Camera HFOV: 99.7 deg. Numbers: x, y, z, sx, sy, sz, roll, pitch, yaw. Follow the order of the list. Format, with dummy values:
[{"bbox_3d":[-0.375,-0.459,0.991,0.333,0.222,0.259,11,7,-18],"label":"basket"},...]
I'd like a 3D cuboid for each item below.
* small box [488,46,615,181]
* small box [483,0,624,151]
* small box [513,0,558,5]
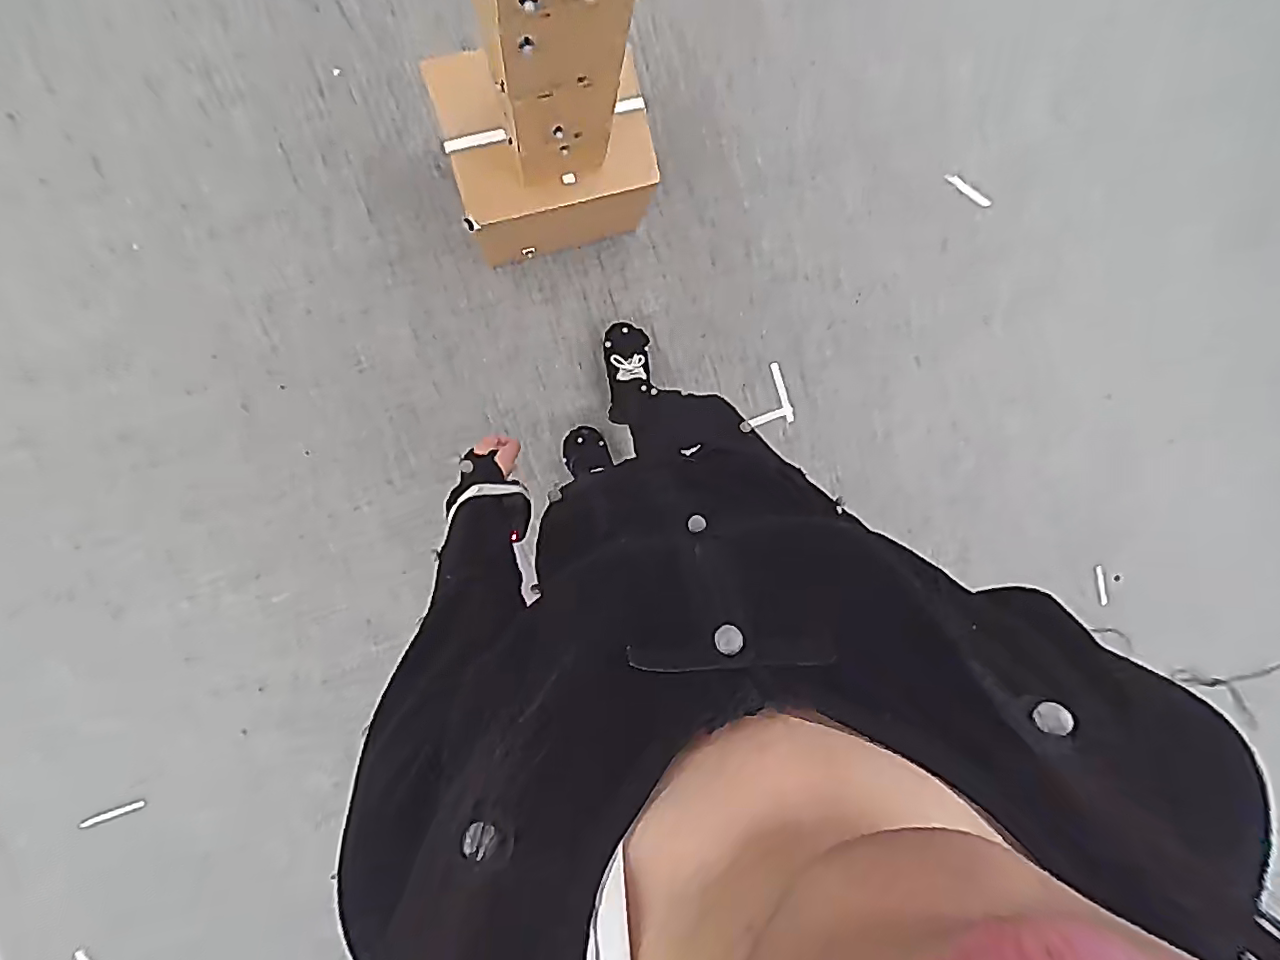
[{"bbox_3d":[-0.160,-0.681,0.994,0.179,0.176,0.168,-19,101,-7],"label":"small box"},{"bbox_3d":[-0.136,-0.651,0.836,0.168,0.176,0.179,-18,101,-6],"label":"small box"},{"bbox_3d":[-0.083,-0.604,0.516,0.168,0.176,0.179,-16,100,-7],"label":"small box"}]
